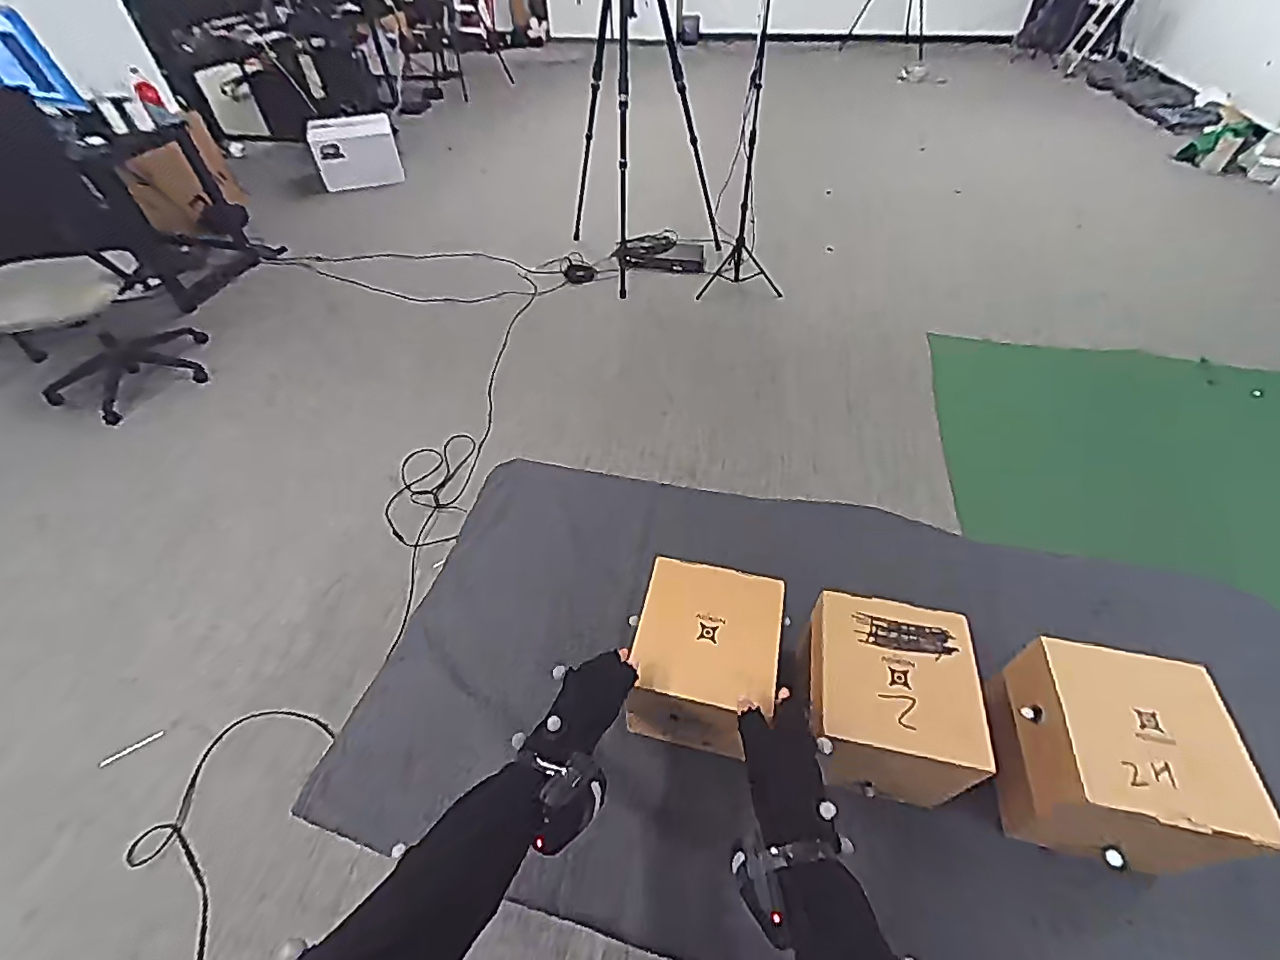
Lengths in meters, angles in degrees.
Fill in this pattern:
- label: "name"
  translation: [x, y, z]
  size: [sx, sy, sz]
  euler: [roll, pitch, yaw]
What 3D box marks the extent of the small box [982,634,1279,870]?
- label: "small box"
  translation: [0.517, 0.306, 0.610]
  size: [0.168, 0.176, 0.179]
  euler: [8, 48, 11]
